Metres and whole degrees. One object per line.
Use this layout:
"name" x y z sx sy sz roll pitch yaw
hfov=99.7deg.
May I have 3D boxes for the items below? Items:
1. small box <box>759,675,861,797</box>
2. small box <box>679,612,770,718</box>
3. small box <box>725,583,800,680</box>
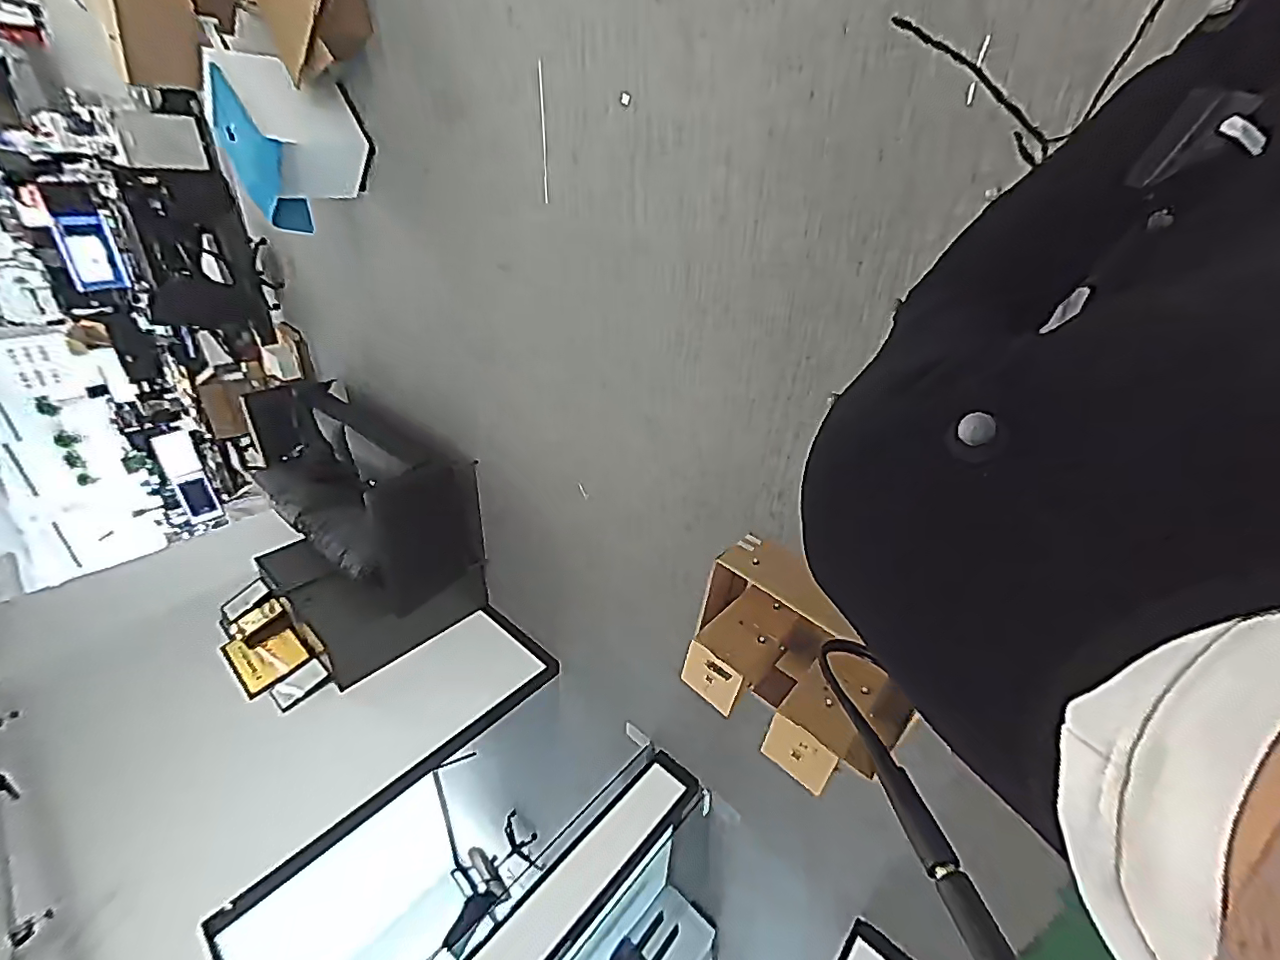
"small box" 0.424 0.631 1.346 0.168 0.176 0.179 31 129 31
"small box" 0.233 0.495 1.474 0.168 0.176 0.179 33 131 30
"small box" 0.344 0.440 1.582 0.168 0.176 0.179 32 129 30
